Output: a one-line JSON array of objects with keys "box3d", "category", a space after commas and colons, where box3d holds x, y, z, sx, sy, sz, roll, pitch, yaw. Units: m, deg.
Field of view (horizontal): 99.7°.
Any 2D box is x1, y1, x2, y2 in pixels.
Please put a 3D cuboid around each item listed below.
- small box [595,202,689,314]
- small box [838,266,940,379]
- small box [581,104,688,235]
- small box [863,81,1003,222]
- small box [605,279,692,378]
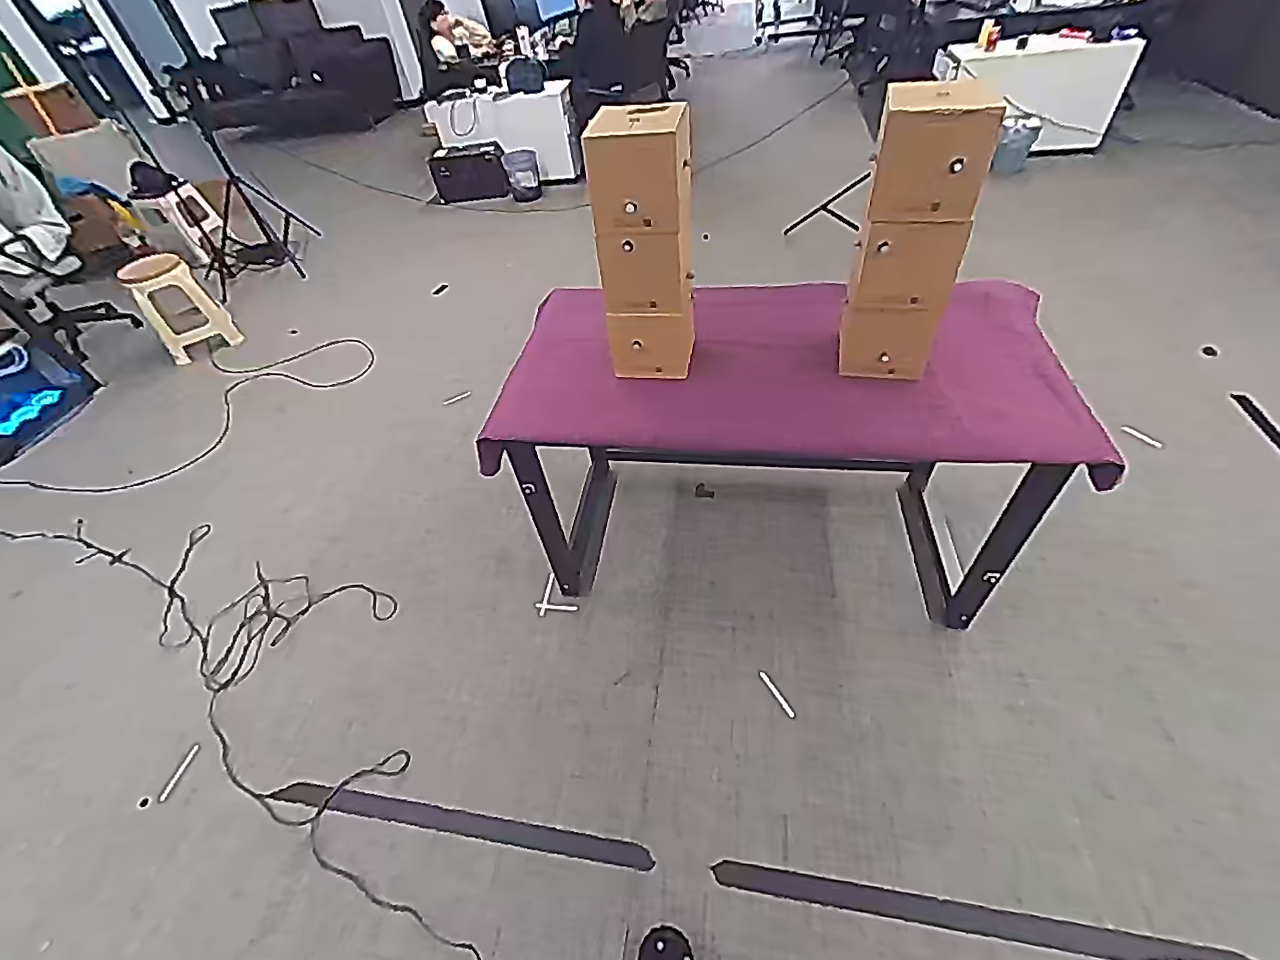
[{"box3d": [0.012, -0.466, 1.131, 0.168, 0.176, 0.179, 3, 47, 11], "category": "small box"}, {"box3d": [0.525, -0.340, 1.165, 0.168, 0.176, 0.179, 6, 48, 15], "category": "small box"}, {"box3d": [0.000, -0.577, 1.009, 0.168, 0.176, 0.179, 3, 48, 11], "category": "small box"}, {"box3d": [0.487, -0.558, 0.924, 0.168, 0.176, 0.179, 9, 48, 14], "category": "small box"}, {"box3d": [0.028, -0.350, 1.246, 0.168, 0.176, 0.179, 3, 47, 11], "category": "small box"}]
